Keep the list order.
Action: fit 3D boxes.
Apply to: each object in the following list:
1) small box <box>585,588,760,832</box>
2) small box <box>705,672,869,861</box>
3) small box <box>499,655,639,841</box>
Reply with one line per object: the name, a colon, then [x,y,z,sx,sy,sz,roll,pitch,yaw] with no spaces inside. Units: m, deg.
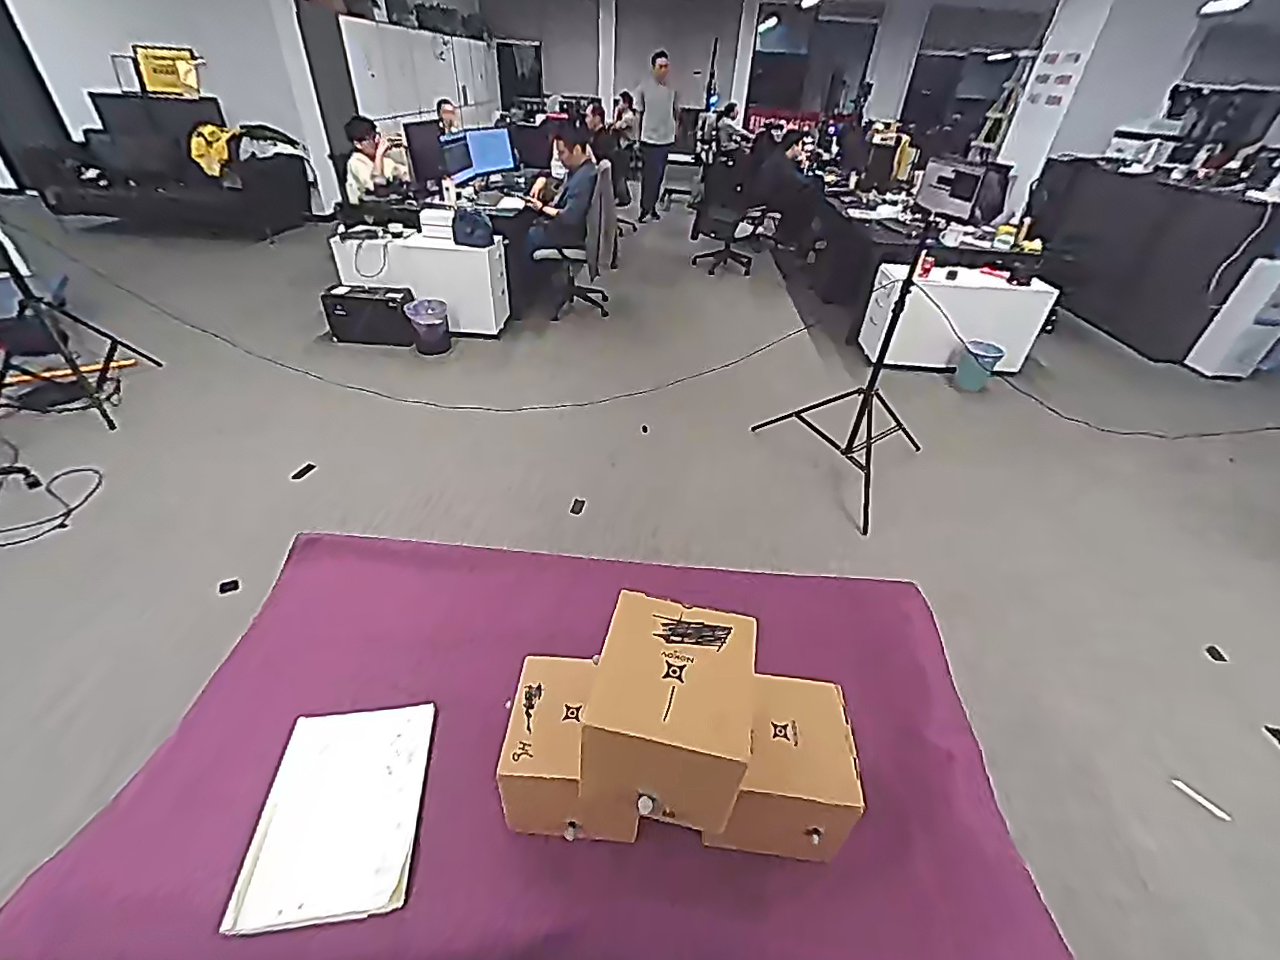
small box: [0.037,0.258,0.618,0.168,0.176,0.179,10,37,8]
small box: [0.184,0.386,0.735,0.179,0.176,0.168,5,35,5]
small box: [-0.080,0.366,0.739,0.179,0.176,0.168,5,35,0]
